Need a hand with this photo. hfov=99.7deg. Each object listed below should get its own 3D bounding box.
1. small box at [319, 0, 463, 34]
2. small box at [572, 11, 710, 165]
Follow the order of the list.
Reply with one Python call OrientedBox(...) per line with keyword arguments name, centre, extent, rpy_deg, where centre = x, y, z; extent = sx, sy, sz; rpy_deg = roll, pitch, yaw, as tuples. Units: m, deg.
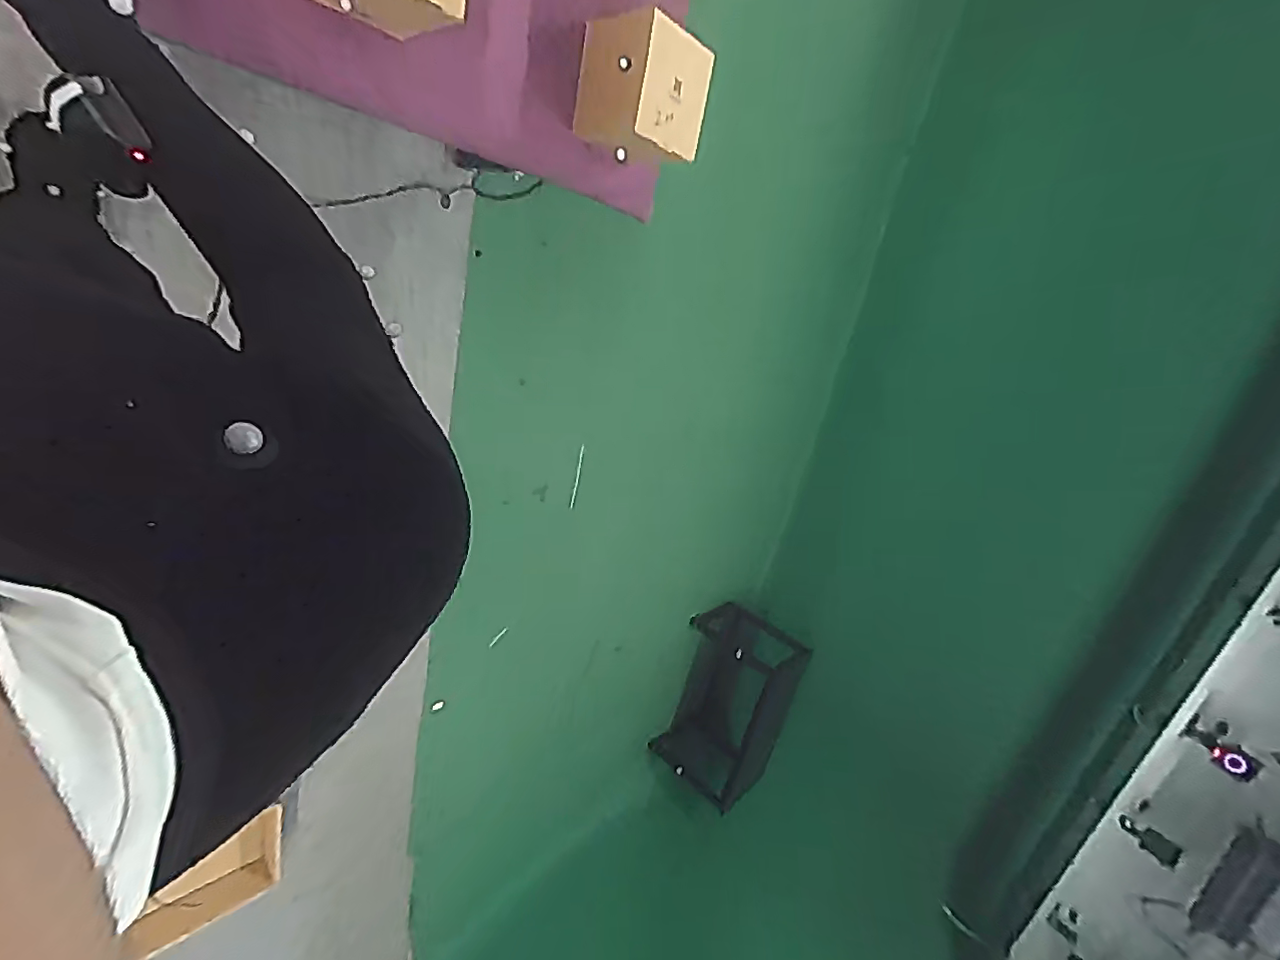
OrientedBox(name="small box", centre=(-0.316, -0.657, 0.620), extent=(0.168, 0.176, 0.179), rpy_deg=(-12, 121, -48))
OrientedBox(name="small box", centre=(-0.004, -0.694, 0.980), extent=(0.168, 0.176, 0.179), rpy_deg=(-8, 117, -47))
